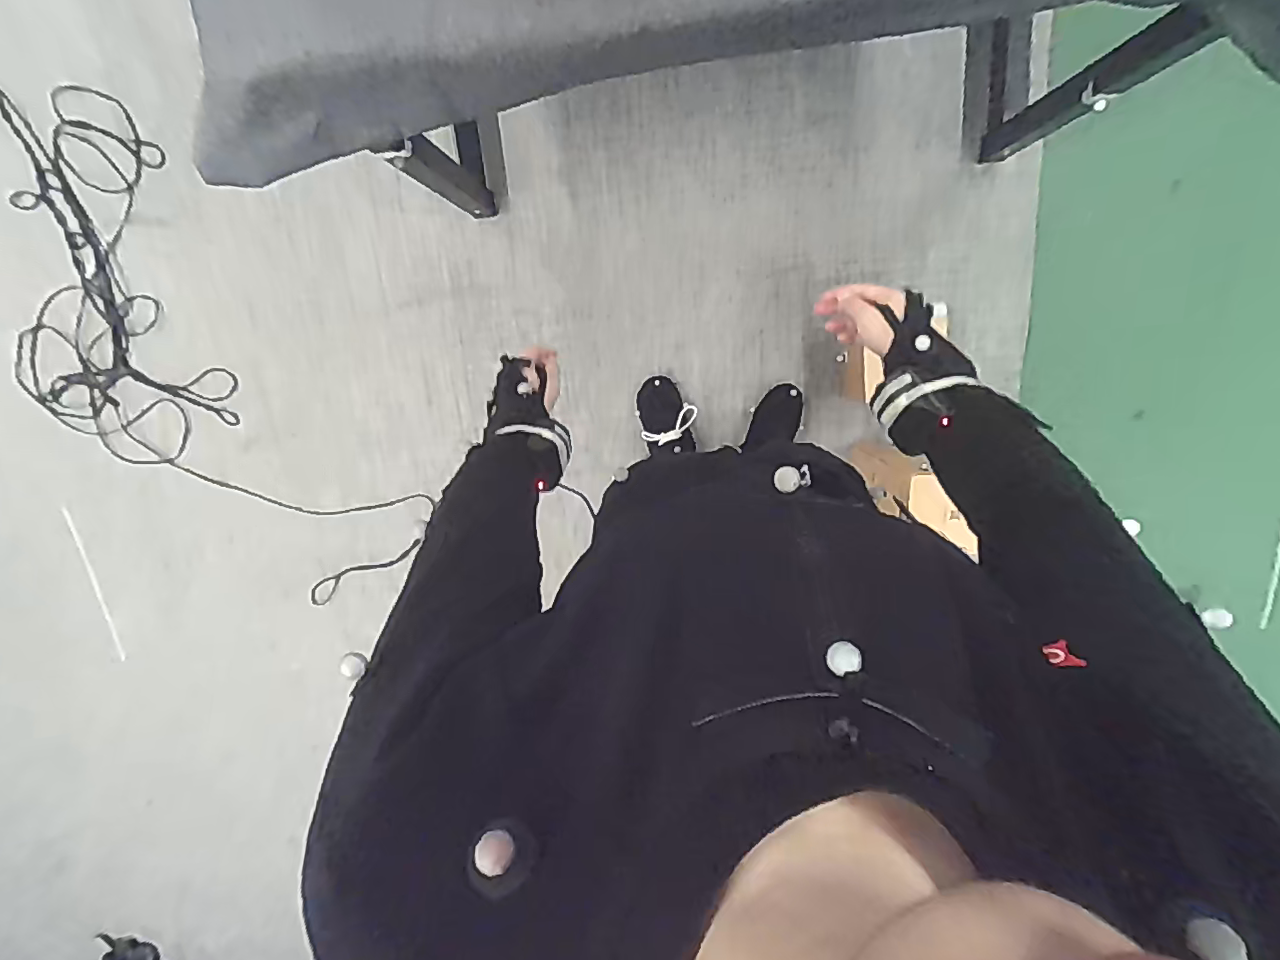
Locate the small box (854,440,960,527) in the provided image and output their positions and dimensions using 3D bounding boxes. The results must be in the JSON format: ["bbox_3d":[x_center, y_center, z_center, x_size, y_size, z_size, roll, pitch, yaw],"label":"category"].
[{"bbox_3d":[0.611,0.005,1.261,0.179,0.176,0.168,-3,105,5],"label":"small box"}]

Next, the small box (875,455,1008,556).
[{"bbox_3d":[0.604,0.047,1.104,0.179,0.176,0.168,-2,104,4],"label":"small box"}]

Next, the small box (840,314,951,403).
[{"bbox_3d":[0.559,-0.271,1.197,0.179,0.176,0.168,-7,103,5],"label":"small box"}]
